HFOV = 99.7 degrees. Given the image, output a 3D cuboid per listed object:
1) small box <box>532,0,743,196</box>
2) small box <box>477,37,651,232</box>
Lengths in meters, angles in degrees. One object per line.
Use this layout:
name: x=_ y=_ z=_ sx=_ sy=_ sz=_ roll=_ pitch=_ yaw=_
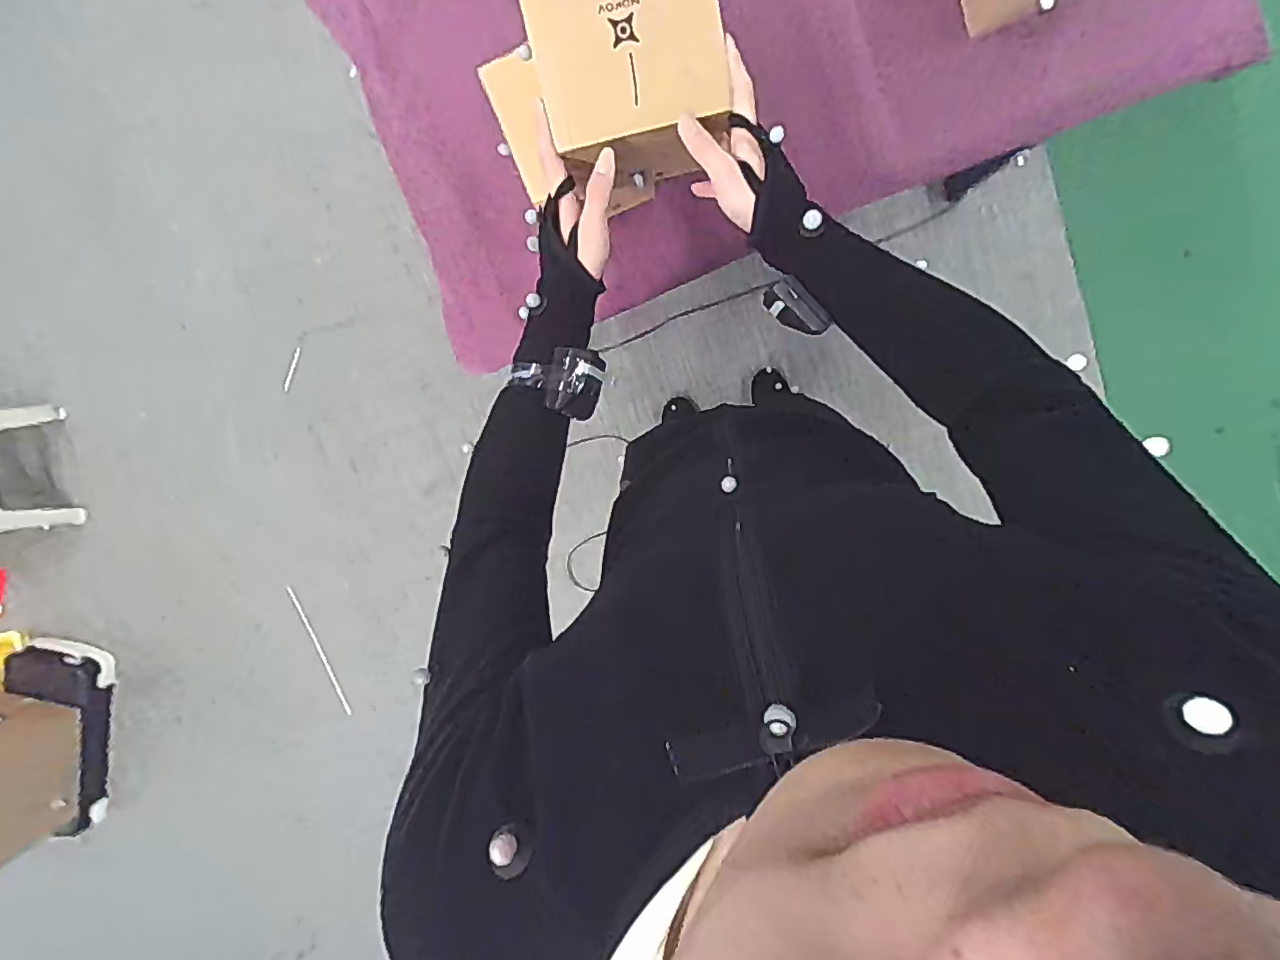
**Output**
small box: x=-0.009 y=-0.408 z=0.530 sx=0.168 sy=0.176 sz=0.179 roll=-12 pitch=105 yaw=2
small box: x=-0.089 y=-0.466 z=0.743 sx=0.168 sy=0.176 sz=0.179 roll=-23 pitch=96 yaw=6
